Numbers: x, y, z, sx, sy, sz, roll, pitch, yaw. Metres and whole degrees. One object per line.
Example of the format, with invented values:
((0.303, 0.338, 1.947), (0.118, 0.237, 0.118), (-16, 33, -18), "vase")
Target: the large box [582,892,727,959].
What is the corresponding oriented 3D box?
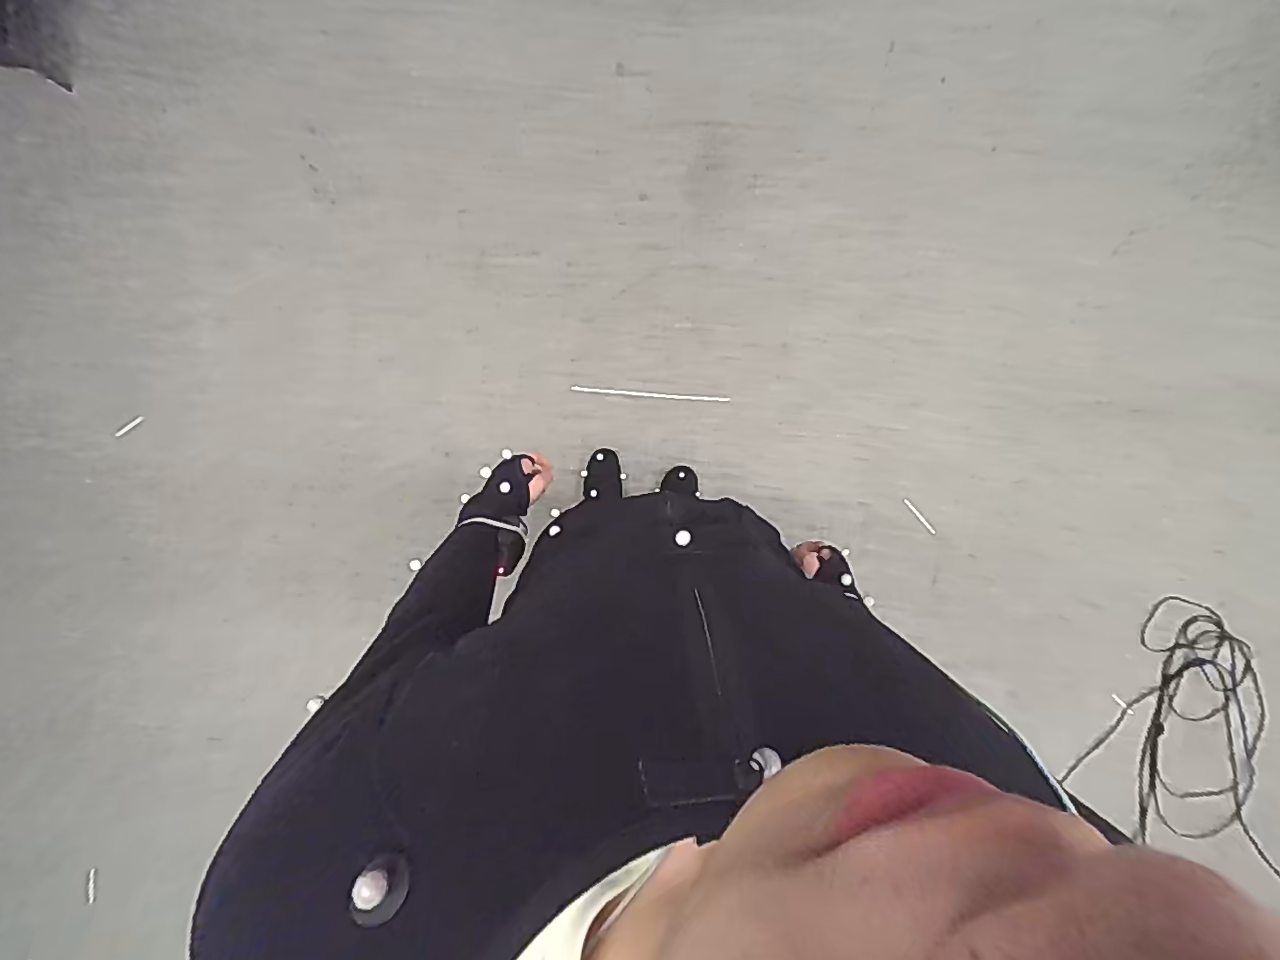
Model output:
((0.038, 1.445, 1.544), (0.408, 0.320, 0.320), (3, 91, 0), "large box")
